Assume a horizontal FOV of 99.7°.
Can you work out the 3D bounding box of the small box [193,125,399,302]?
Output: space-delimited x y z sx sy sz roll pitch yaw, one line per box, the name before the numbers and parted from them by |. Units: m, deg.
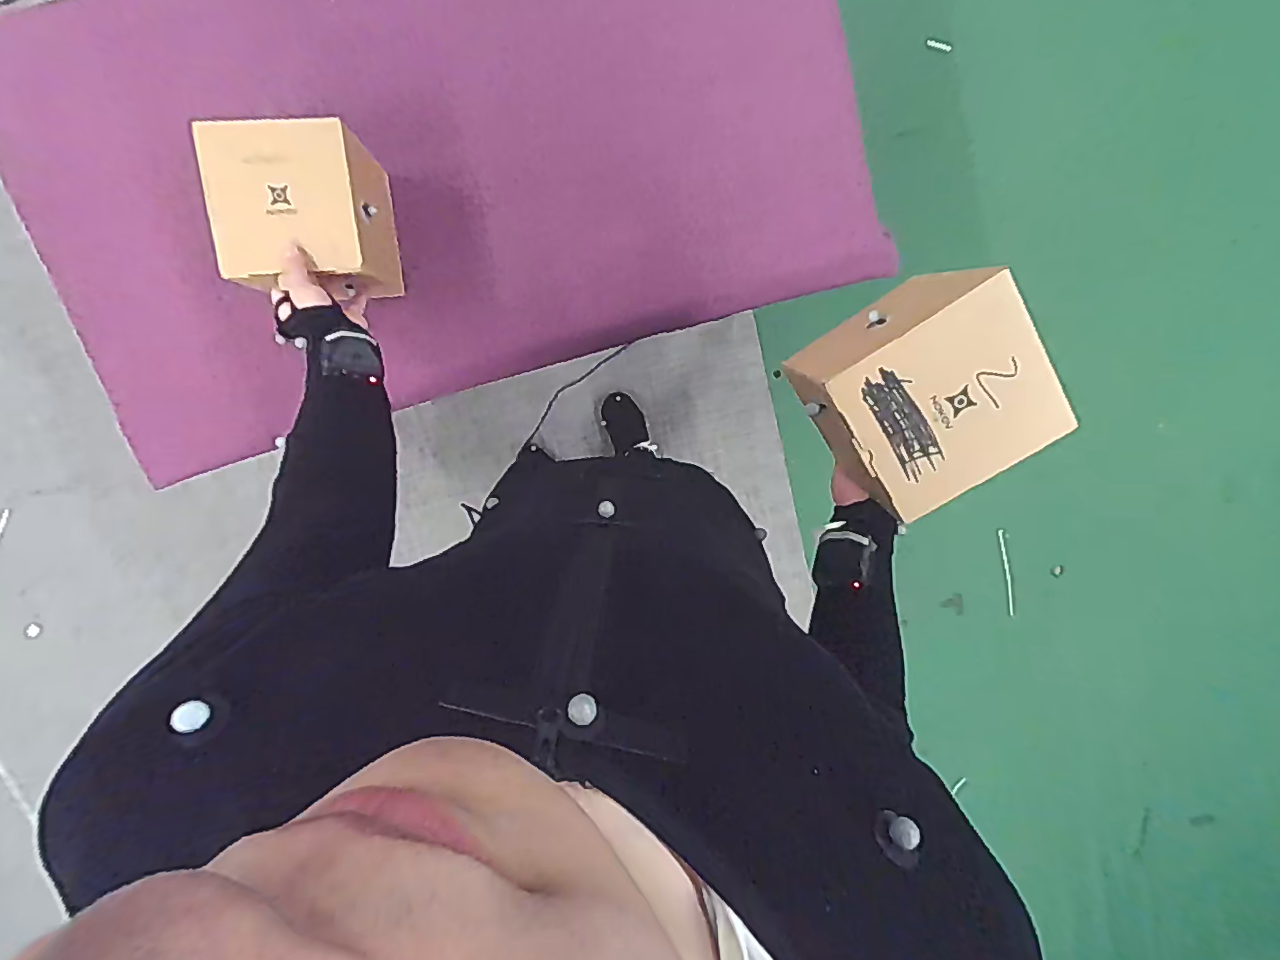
small box | -0.439 -0.340 0.724 0.168 0.176 0.179 -6 99 -7
